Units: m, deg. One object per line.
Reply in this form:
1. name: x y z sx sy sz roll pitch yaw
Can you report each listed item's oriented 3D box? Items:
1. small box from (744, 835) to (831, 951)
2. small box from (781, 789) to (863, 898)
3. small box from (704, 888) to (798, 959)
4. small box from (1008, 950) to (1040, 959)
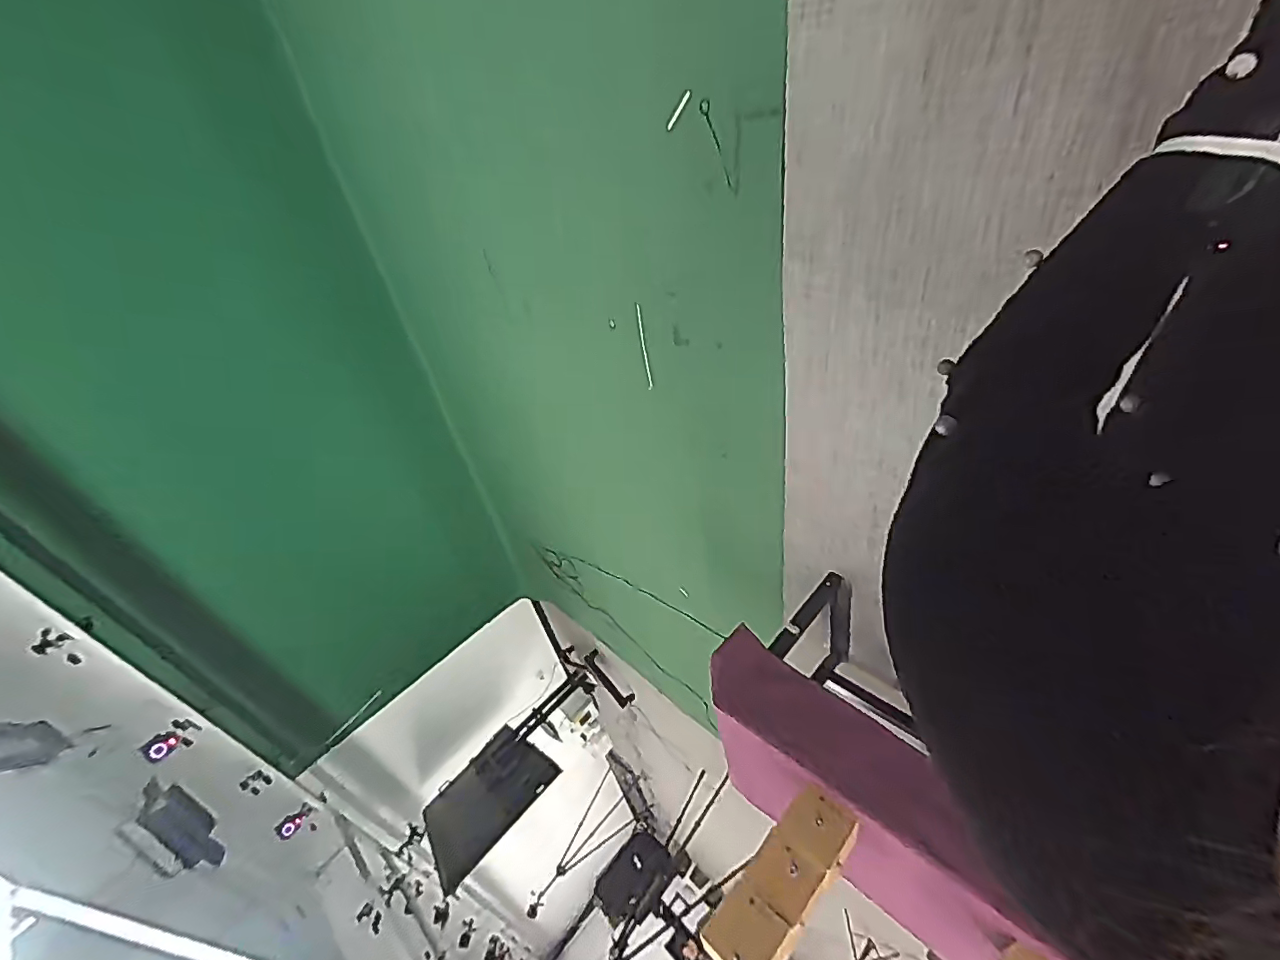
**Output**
1. small box: 0.404 1.122 1.471 0.168 0.176 0.179 25 140 39
2. small box: 0.518 1.030 1.542 0.168 0.176 0.179 25 141 39
3. small box: 0.291 1.209 1.388 0.168 0.176 0.179 21 139 41
4. small box: 0.905 1.209 1.199 0.179 0.176 0.168 27 143 37
